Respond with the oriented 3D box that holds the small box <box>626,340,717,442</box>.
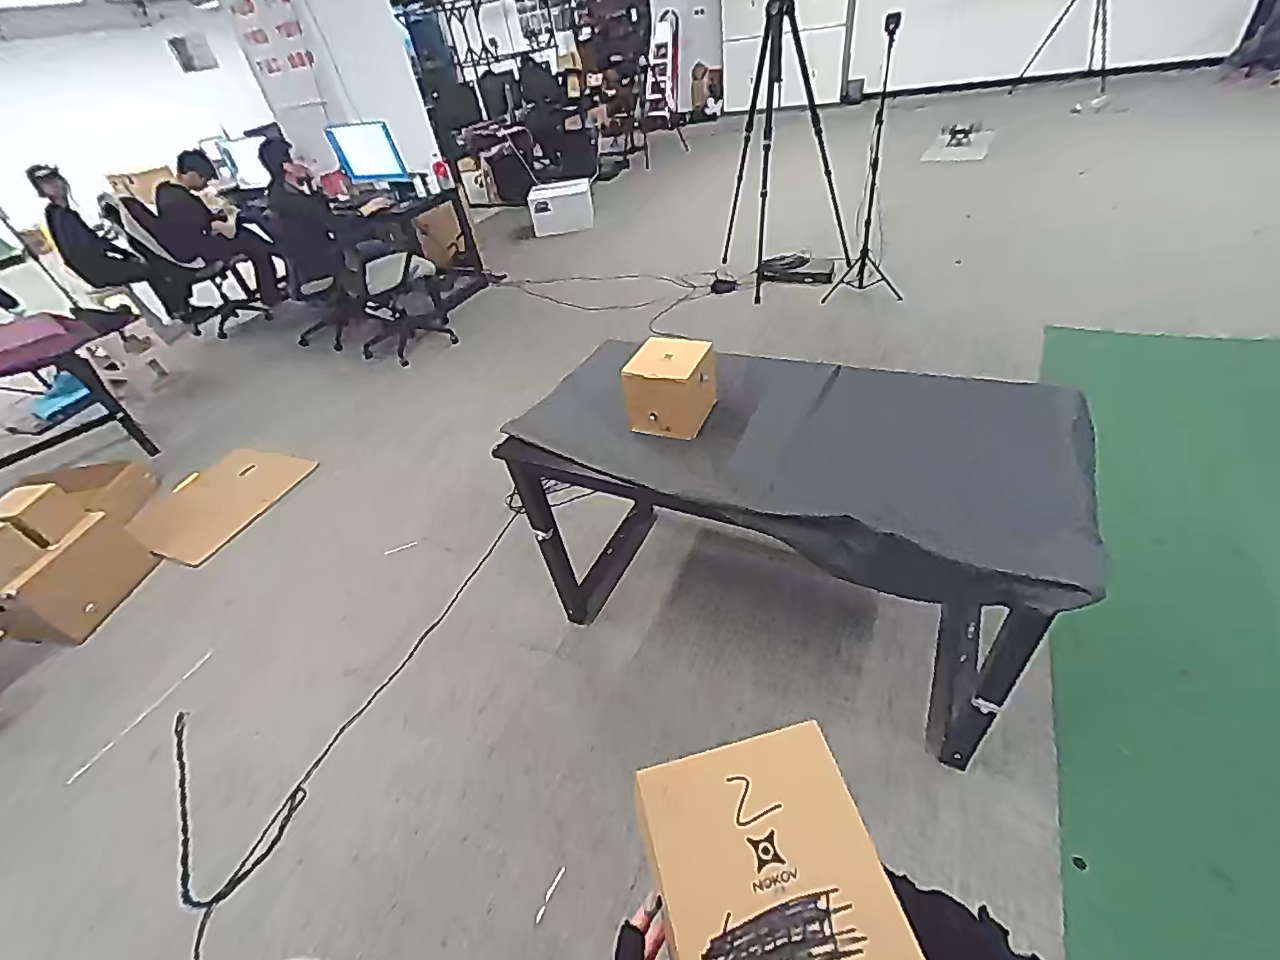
[{"bbox_3d":[0.083,-0.218,1.316,0.168,0.176,0.179,12,46,23],"label":"small box"}]
